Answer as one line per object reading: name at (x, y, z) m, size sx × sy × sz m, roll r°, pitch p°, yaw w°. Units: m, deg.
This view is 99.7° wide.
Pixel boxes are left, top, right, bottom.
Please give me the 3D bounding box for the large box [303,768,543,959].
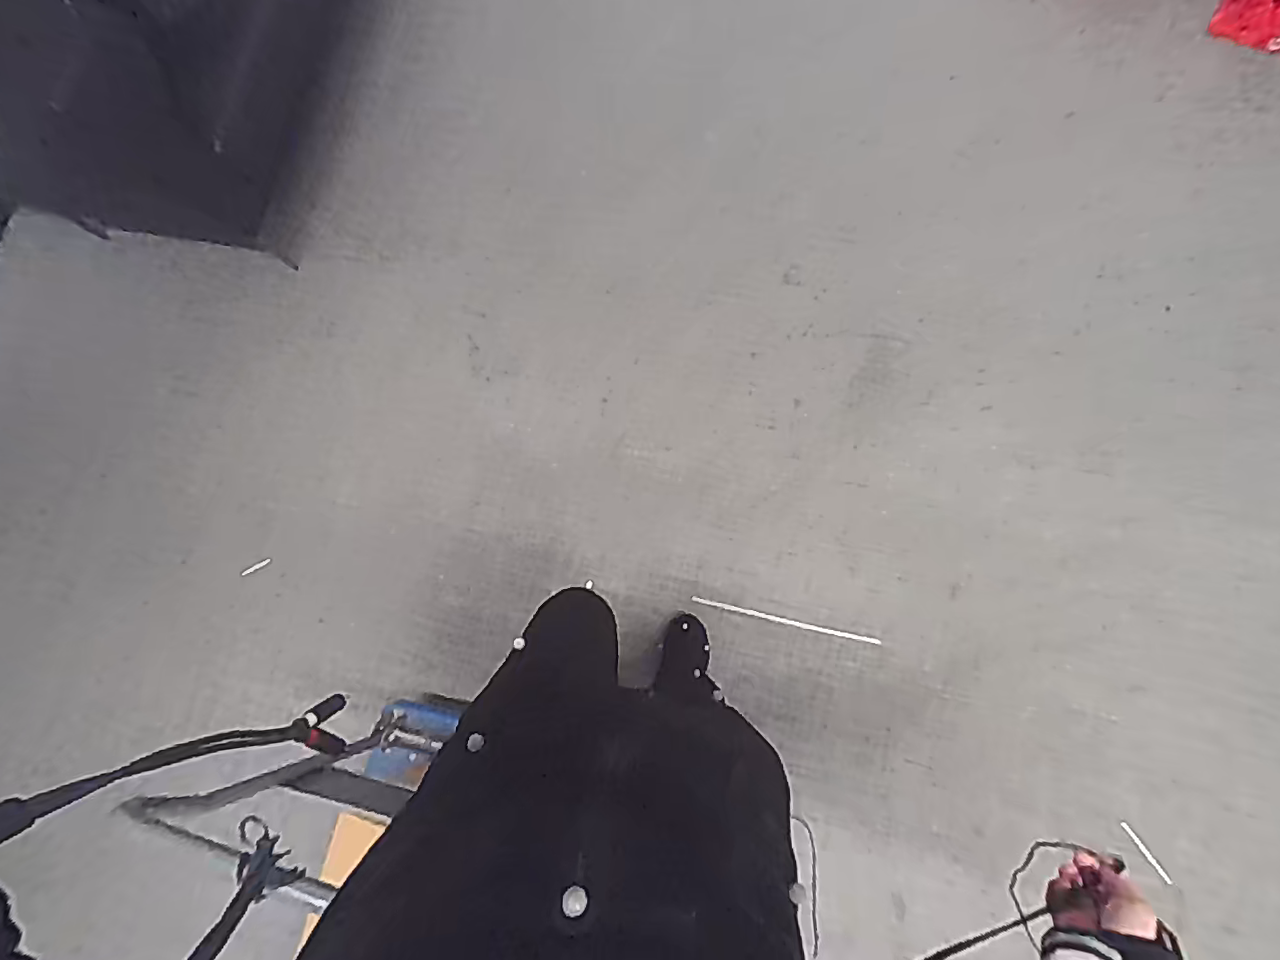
large box at (-0.426, 0.872, 1.091) m, size 0.320 × 0.320 × 0.408 m, roll 12°, pitch 81°, yaw 11°
